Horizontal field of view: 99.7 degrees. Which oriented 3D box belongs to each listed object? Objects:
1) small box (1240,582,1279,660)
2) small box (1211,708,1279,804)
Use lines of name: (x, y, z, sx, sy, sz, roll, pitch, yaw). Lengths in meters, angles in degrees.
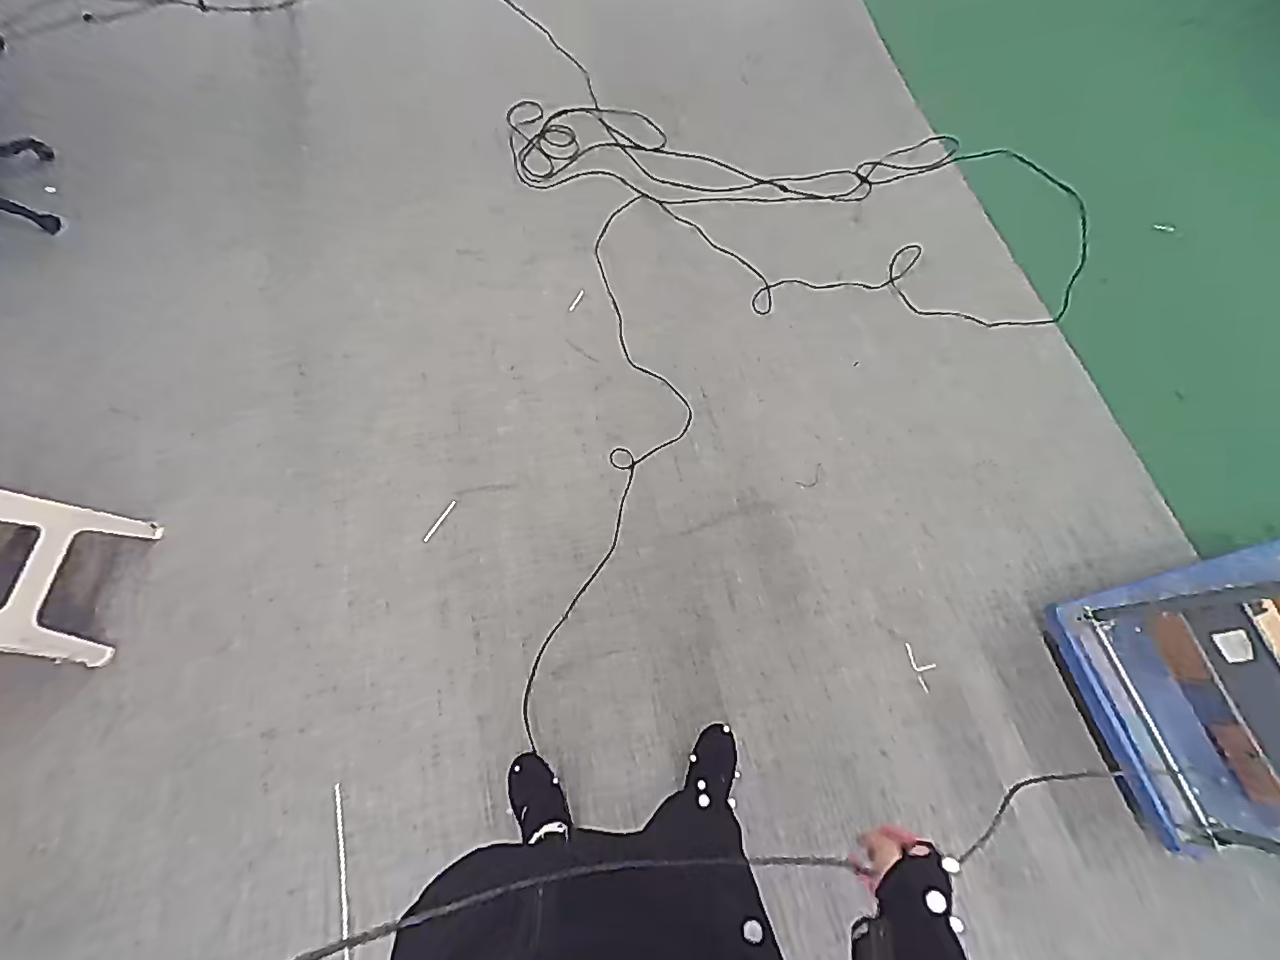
small box: (1.644, 0.332, 1.316, 0.179, 0.176, 0.168, -16, 71, -8)
small box: (1.460, 0.613, 1.199, 0.179, 0.176, 0.168, -12, 70, -6)
